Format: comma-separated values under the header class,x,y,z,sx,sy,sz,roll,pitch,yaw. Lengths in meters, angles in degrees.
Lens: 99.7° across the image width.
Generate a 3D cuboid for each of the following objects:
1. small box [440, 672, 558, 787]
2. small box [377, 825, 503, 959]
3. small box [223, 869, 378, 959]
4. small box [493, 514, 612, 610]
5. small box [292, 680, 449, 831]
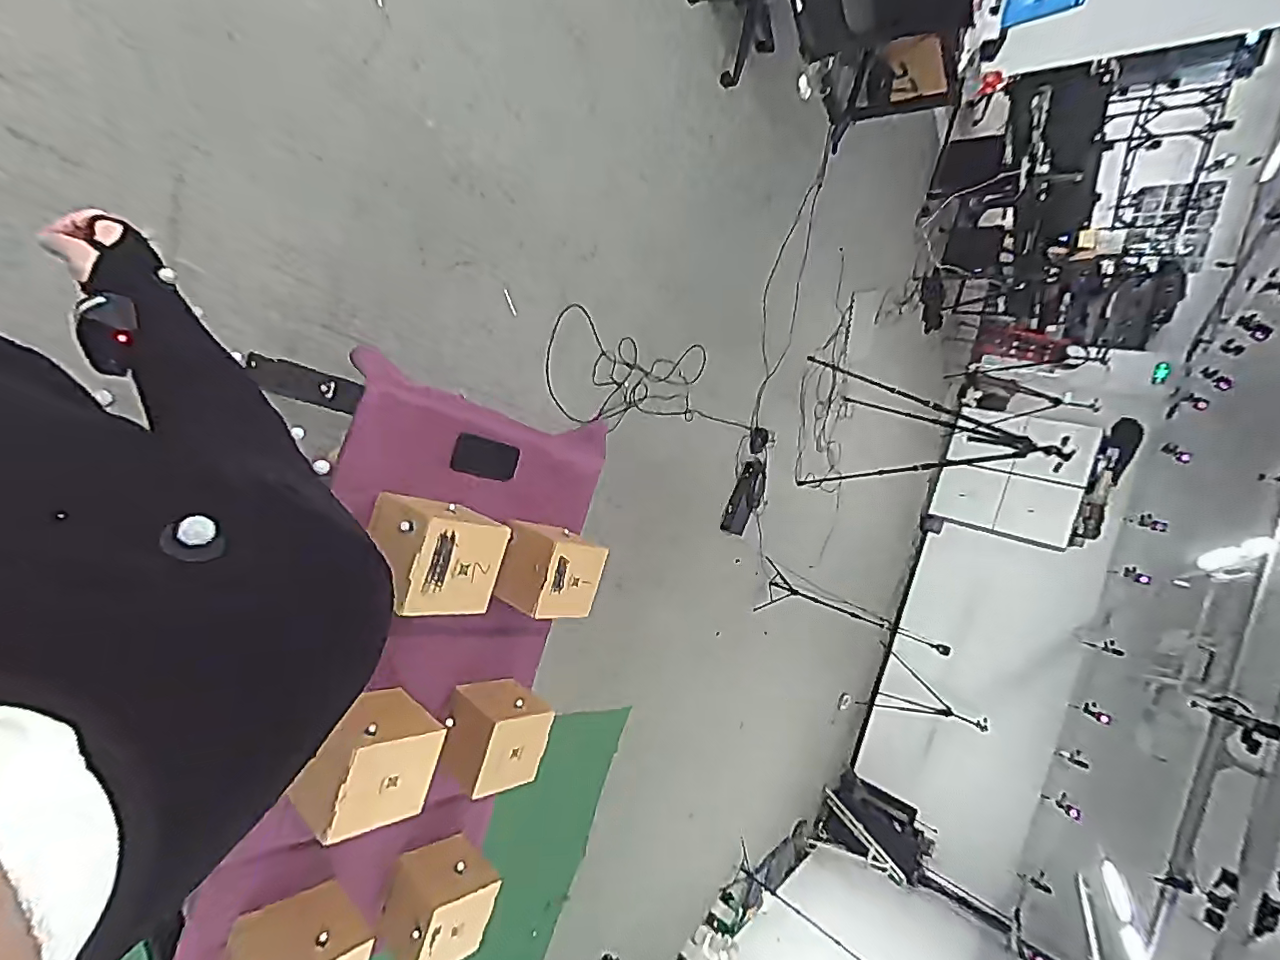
class,x,y,z,sx,sy,sz,roll,pitch,yaw
small box,-0.322,0.545,1.214,0.179,0.176,0.168,20,89,-52
small box,-0.448,0.915,1.209,0.179,0.176,0.168,21,87,-53
small box,-0.615,0.854,0.971,0.179,0.176,0.168,17,90,-52
small box,-0.199,0.182,1.211,0.179,0.176,0.168,17,91,-53
small box,-0.488,0.482,0.981,0.179,0.176,0.168,18,91,-53
